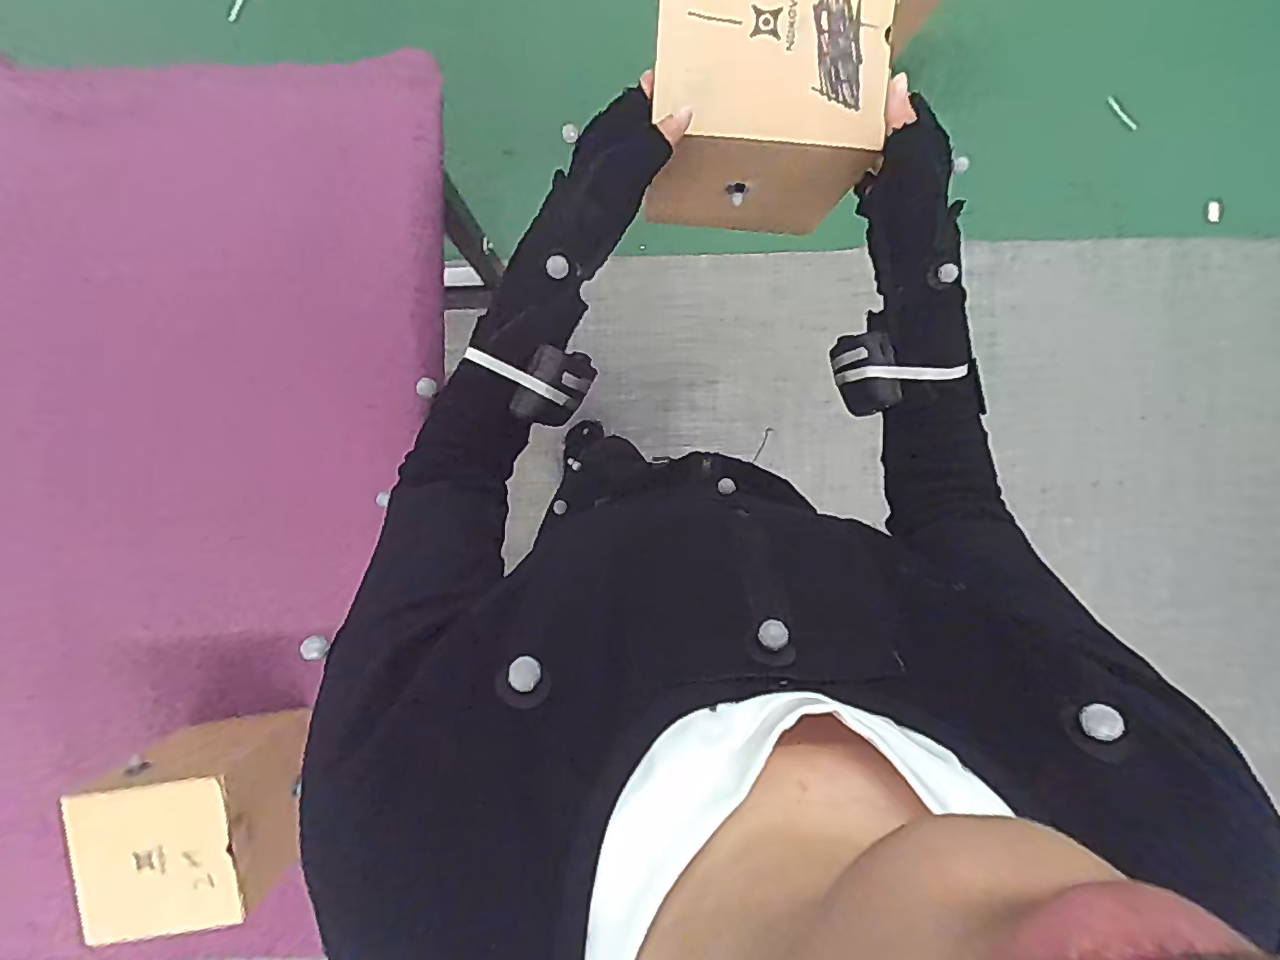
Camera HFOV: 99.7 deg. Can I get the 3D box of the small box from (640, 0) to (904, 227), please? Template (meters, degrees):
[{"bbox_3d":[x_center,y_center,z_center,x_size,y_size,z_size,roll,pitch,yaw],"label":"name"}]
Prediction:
[{"bbox_3d":[0.098,-0.340,0.466,0.179,0.176,0.168,7,92,-2],"label":"small box"}]

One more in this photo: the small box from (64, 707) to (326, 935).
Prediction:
[{"bbox_3d":[-0.529,0.403,0.667,0.179,0.176,0.168,-8,92,-1],"label":"small box"}]
